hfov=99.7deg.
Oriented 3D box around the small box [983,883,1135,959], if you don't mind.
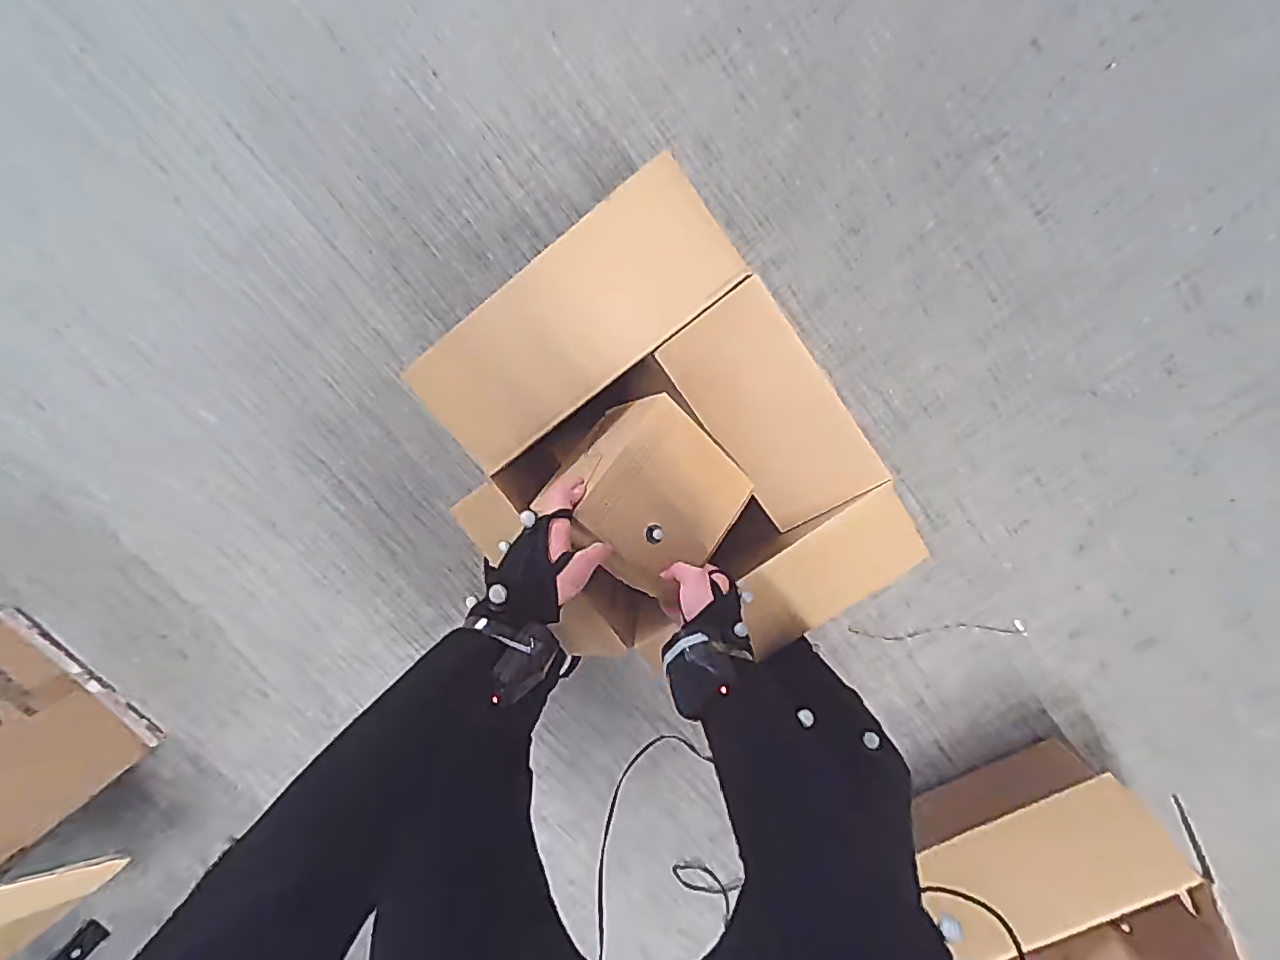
[{"bbox_3d":[0.704,0.803,0.863,0.179,0.176,0.168,-44,98,10],"label":"small box"}]
